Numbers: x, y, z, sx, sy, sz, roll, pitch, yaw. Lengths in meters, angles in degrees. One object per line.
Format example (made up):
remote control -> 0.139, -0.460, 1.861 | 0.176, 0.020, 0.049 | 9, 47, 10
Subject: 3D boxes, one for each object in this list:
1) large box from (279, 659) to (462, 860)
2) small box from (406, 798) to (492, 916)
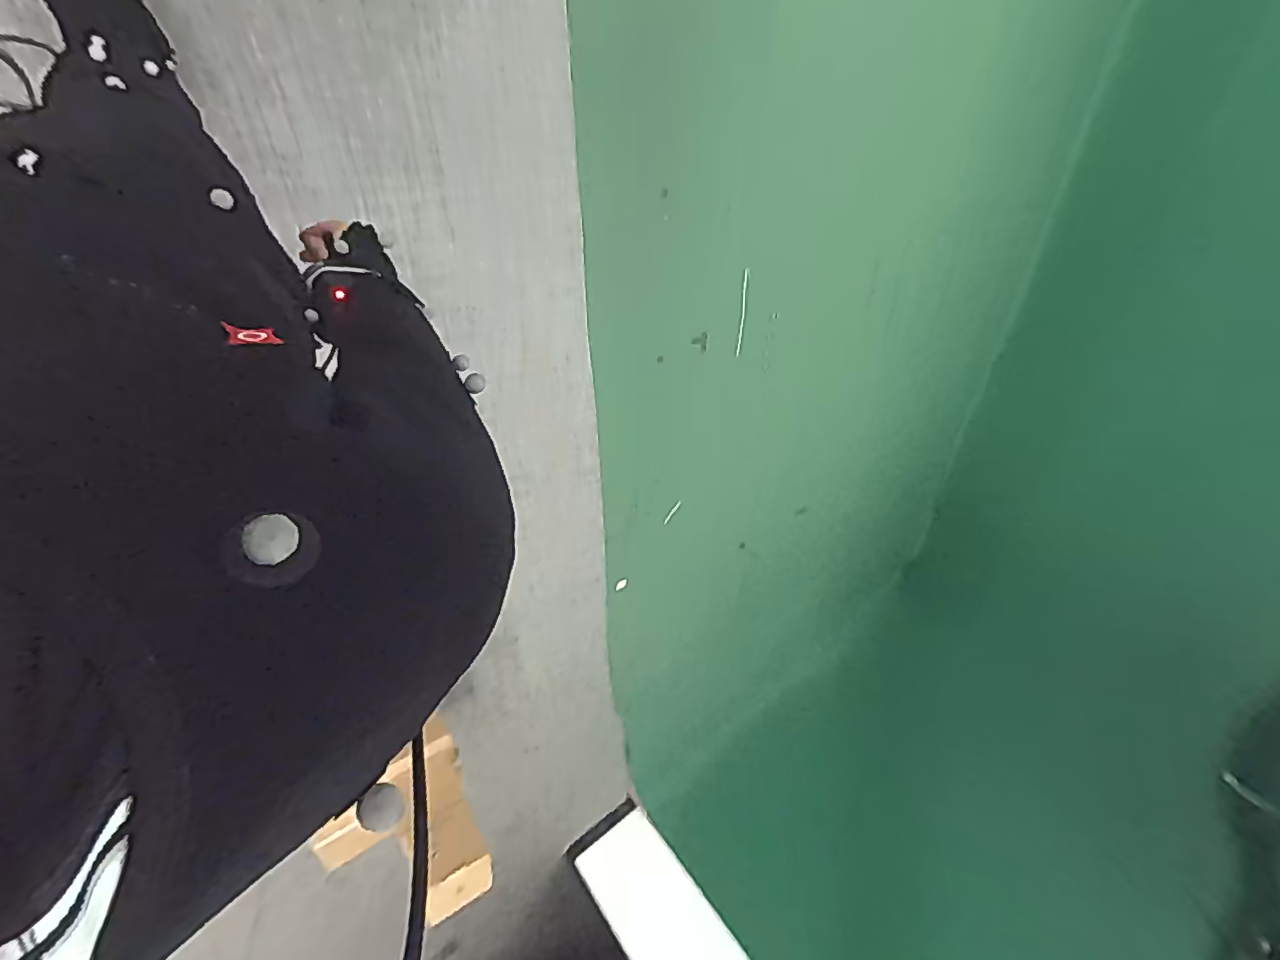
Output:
large box -> -0.816, 0.837, 1.662 | 0.408, 0.320, 0.320 | -20, 129, -31
small box -> -0.505, 0.982, 1.428 | 0.168, 0.176, 0.179 | -16, 129, -31
